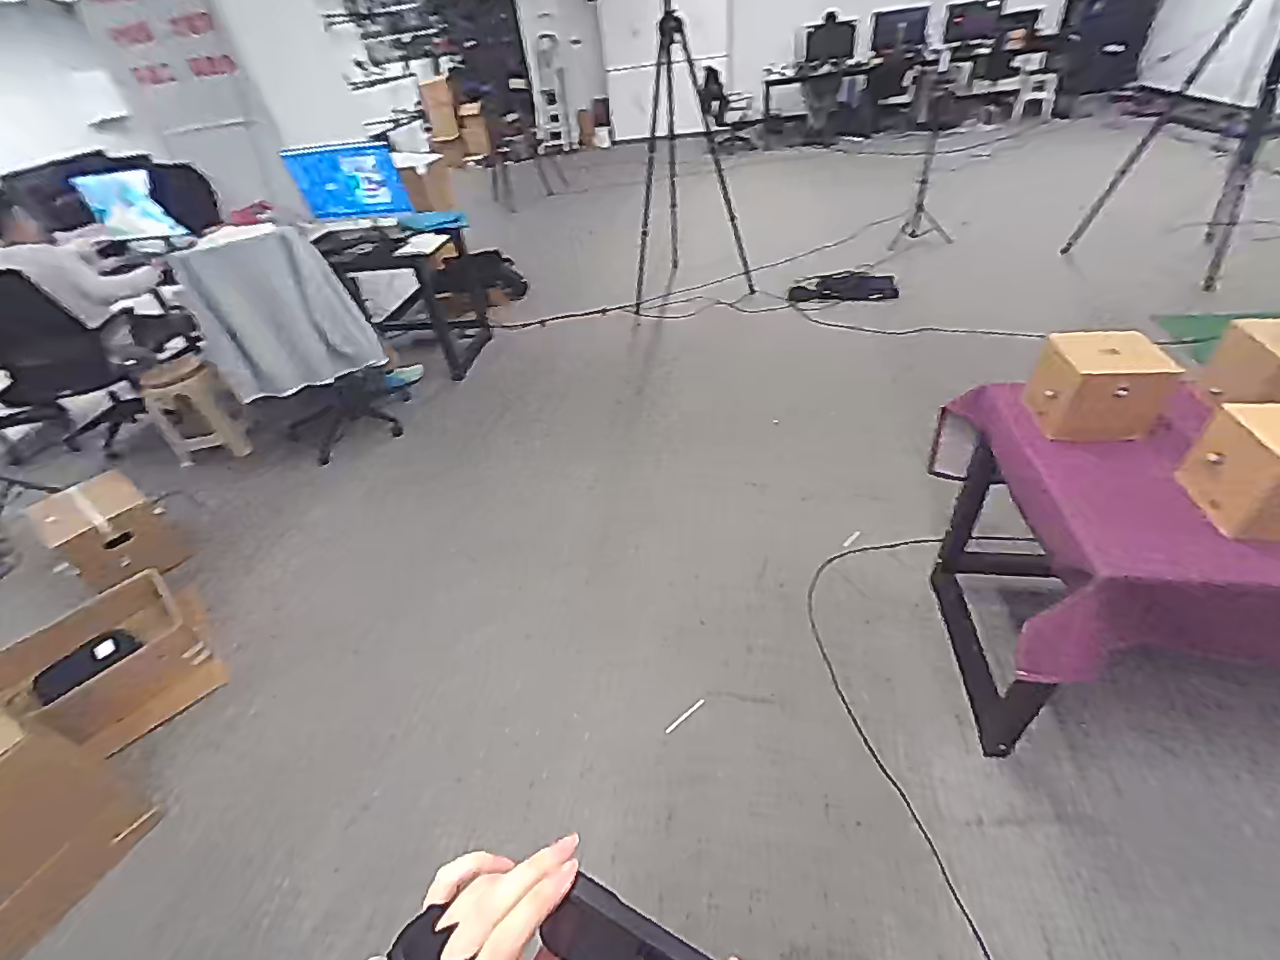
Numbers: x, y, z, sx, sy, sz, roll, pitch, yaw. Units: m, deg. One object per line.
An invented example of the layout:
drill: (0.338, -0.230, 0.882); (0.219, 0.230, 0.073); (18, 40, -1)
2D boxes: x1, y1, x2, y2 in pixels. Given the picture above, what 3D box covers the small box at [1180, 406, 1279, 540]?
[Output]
small box: (1.073, -0.009, 0.906); (0.179, 0.176, 0.168); (2, 41, 12)
